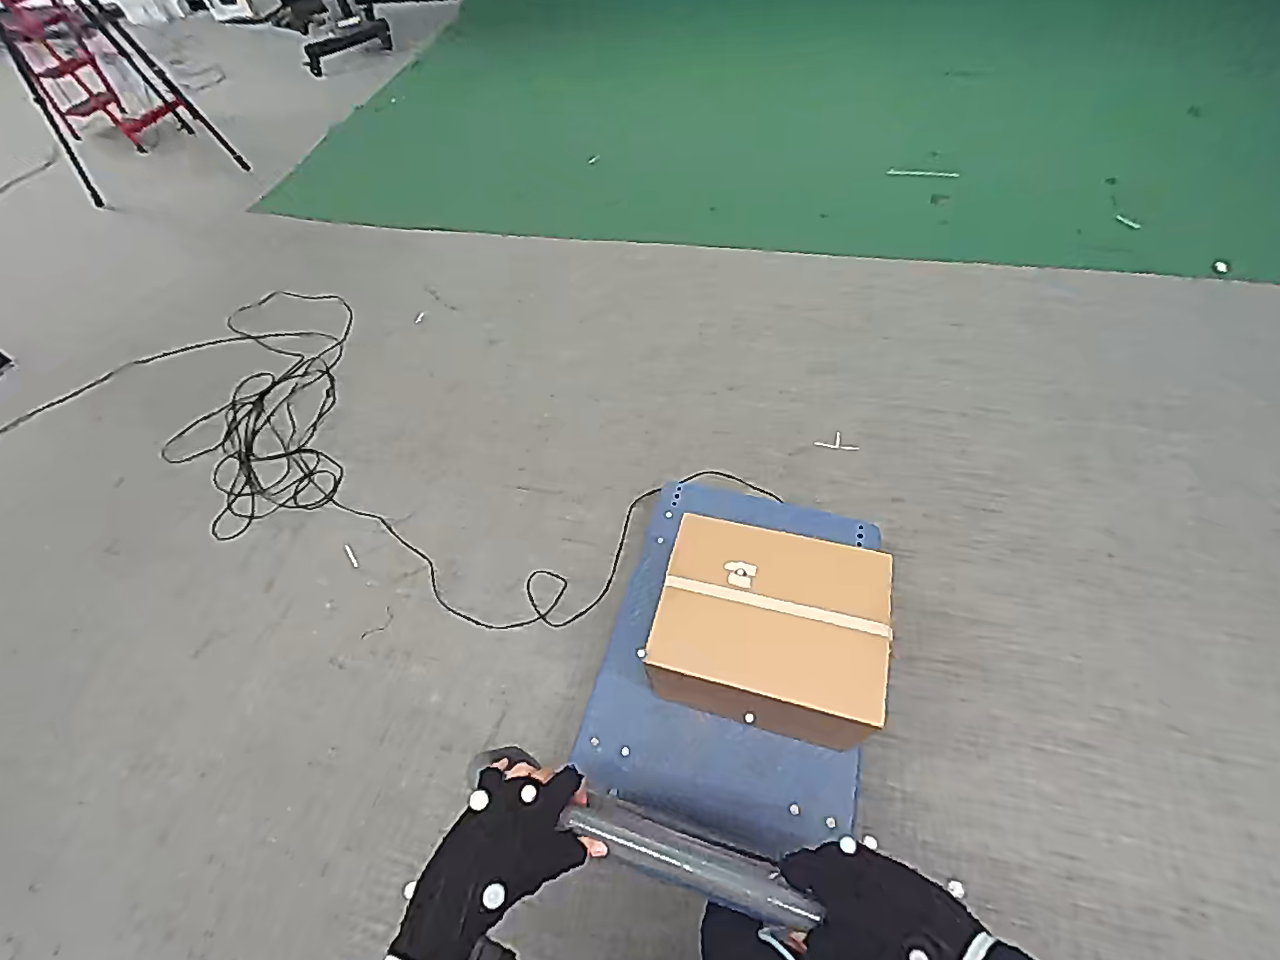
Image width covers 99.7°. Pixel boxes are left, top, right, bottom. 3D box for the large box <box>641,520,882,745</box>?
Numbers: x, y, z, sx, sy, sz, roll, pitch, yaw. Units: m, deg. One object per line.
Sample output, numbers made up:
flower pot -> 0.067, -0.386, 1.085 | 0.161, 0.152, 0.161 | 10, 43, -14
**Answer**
large box -> 0.251, 0.318, 1.118 | 0.408, 0.320, 0.320 | 10, 58, 15
